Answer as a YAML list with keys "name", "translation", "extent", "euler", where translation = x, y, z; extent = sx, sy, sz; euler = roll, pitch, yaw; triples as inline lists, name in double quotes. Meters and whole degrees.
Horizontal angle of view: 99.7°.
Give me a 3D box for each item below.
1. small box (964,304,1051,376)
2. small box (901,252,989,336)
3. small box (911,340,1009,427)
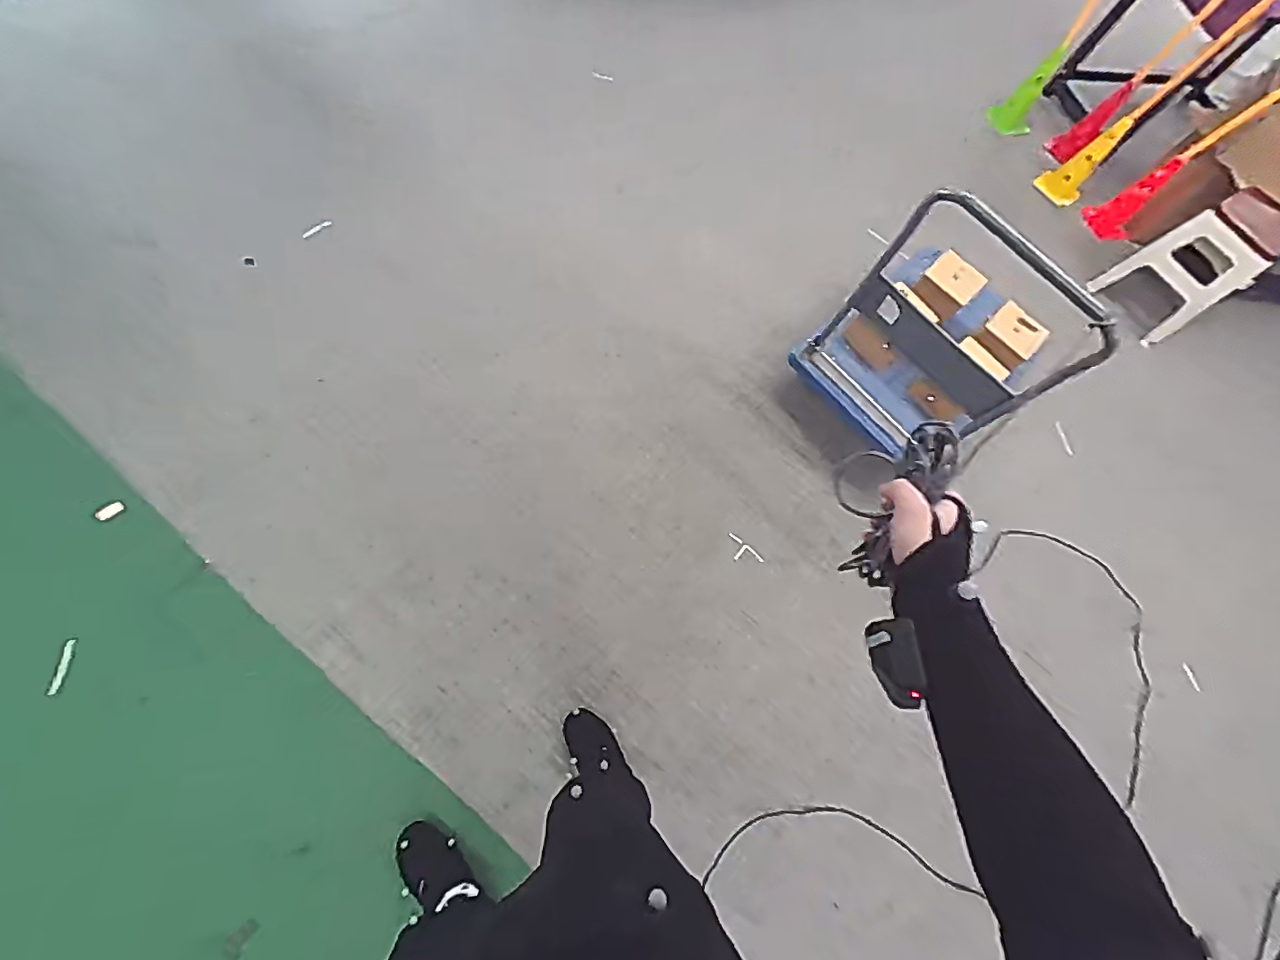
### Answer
- name: "small box"
  translation: [1.198, -0.440, 1.798]
  extent: [0.179, 0.176, 0.168]
  euler: [-40, 79, -21]
- name: "small box"
  translation: [1.027, -0.627, 1.840]
  extent: [0.179, 0.176, 0.168]
  euler: [-41, 81, -22]
- name: "small box"
  translation: [1.002, -0.301, 1.707]
  extent: [0.179, 0.176, 0.168]
  euler: [-36, 79, -21]
